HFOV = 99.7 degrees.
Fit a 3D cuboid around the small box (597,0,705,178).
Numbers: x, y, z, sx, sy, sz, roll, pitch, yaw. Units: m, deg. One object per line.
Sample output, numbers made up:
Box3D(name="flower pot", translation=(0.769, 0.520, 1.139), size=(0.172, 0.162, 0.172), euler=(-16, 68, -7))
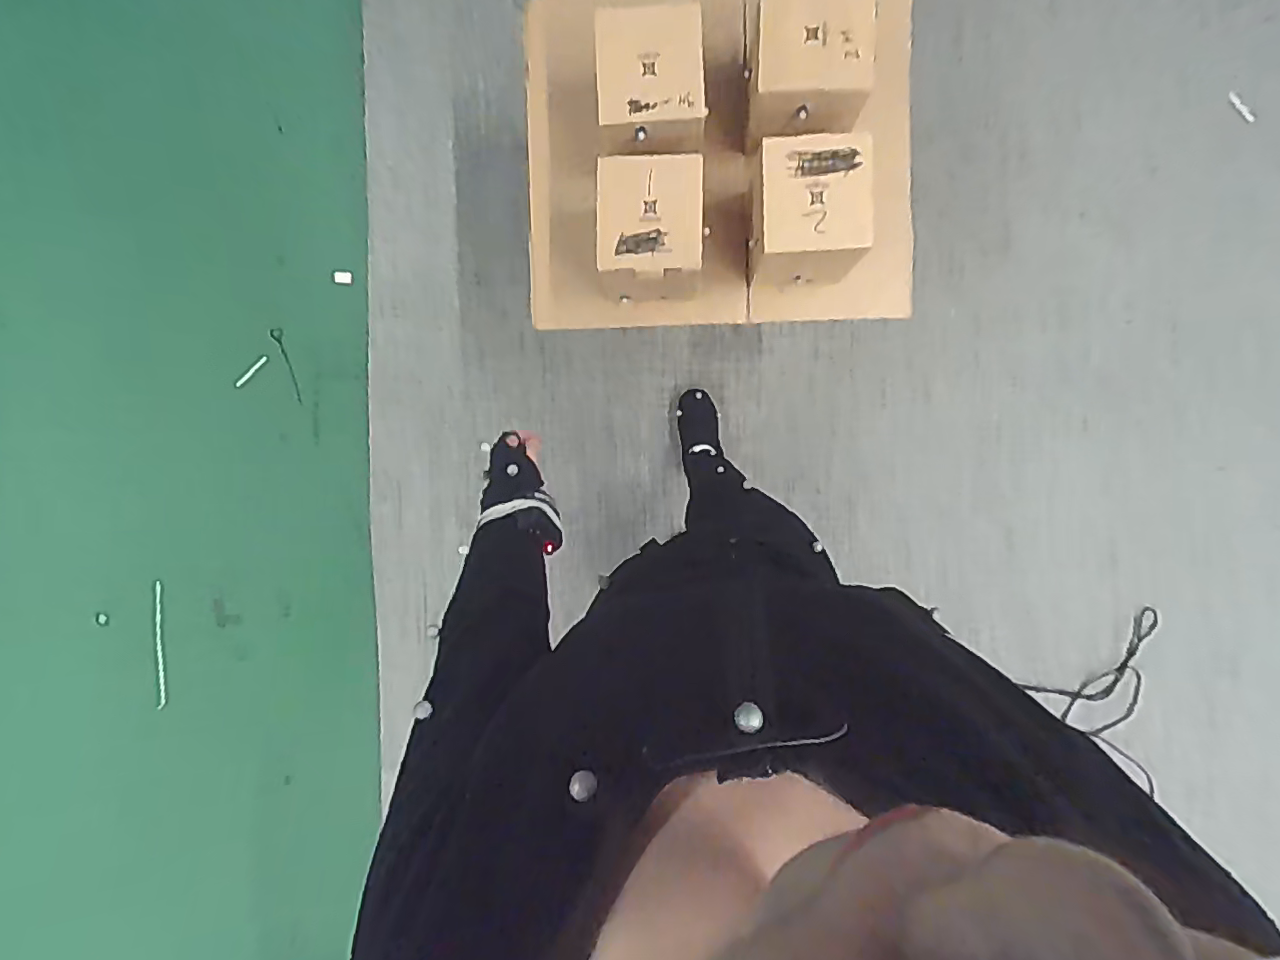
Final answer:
Box3D(name="small box", translation=(0.021, -0.640, 0.901), size=(0.168, 0.176, 0.179), euler=(-2, 91, 5))
